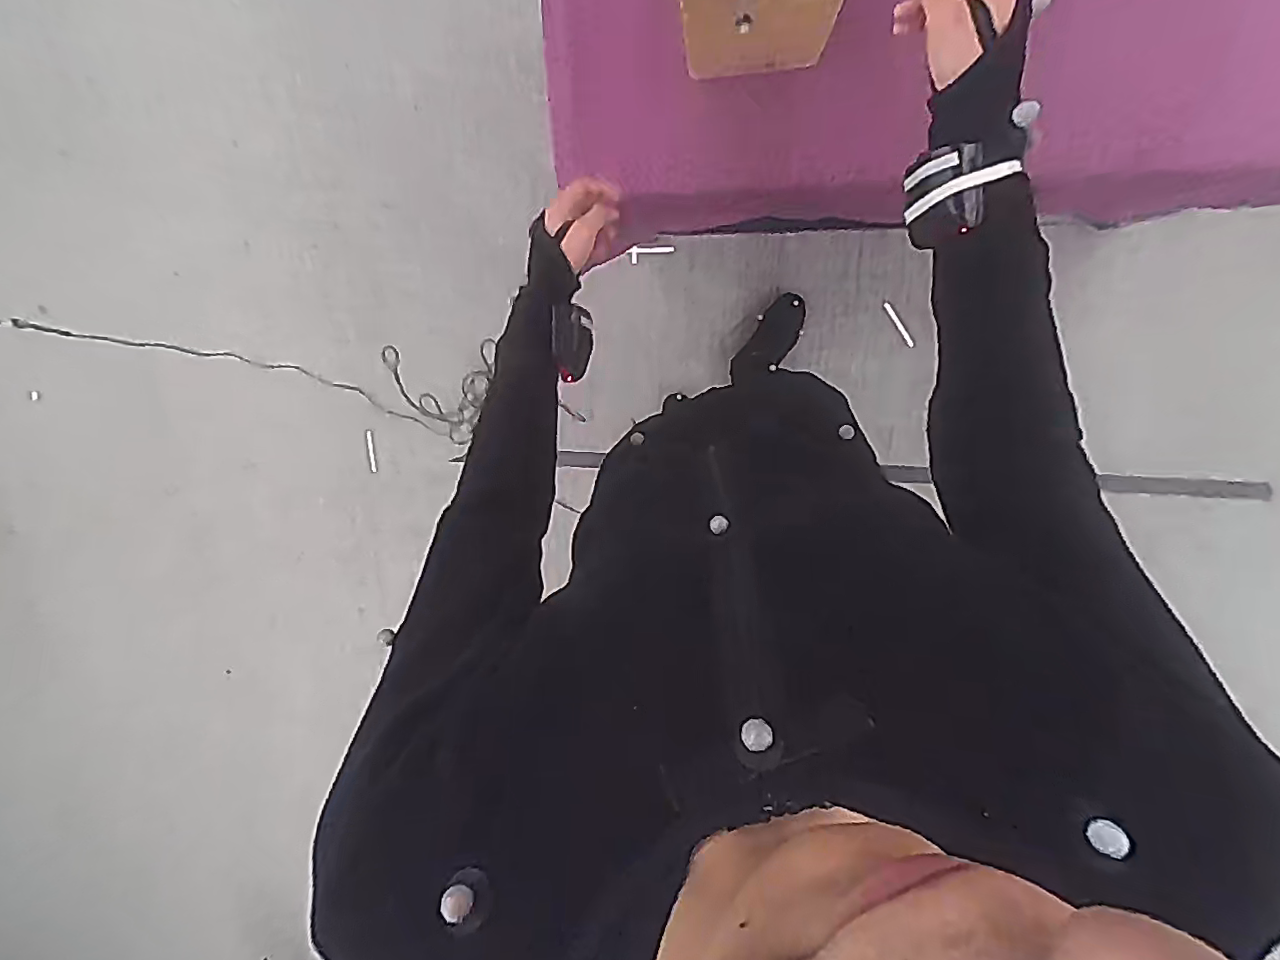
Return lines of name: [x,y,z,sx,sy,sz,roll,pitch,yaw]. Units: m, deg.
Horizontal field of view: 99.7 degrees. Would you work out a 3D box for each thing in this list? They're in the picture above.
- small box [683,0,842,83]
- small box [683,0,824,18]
small box: [0.133,-0.591,0.612,0.168,0.176,0.179,0,107,8]
small box: [0.108,-0.546,0.457,0.168,0.176,0.179,-2,107,8]
